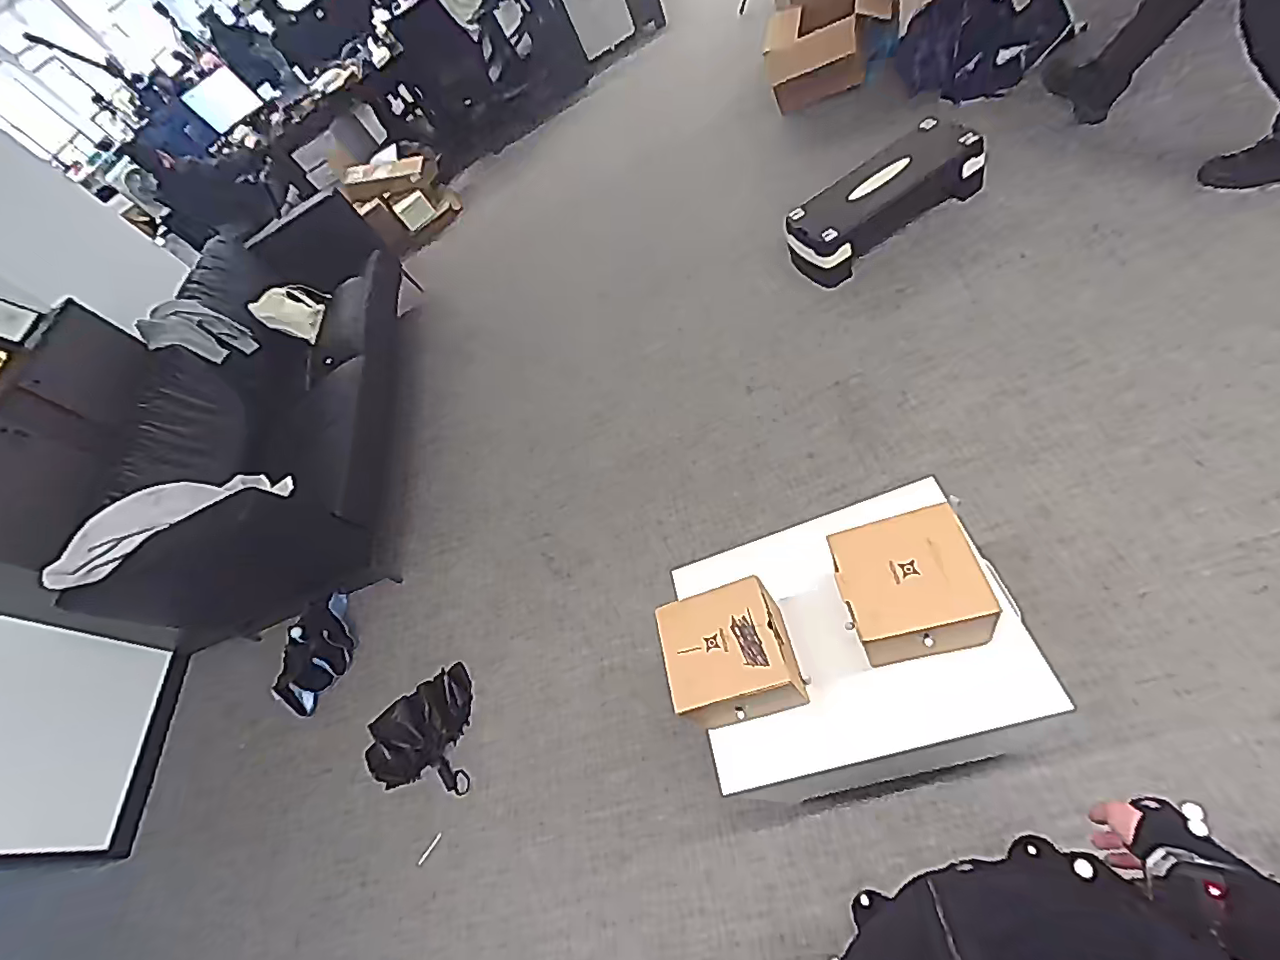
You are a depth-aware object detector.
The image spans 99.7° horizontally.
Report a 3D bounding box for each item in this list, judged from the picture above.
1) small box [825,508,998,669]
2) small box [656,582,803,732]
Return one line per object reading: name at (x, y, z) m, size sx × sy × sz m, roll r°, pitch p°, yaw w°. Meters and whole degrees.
small box at (0.398, 0.170, 0.806) m, size 0.179 × 0.176 × 0.168 m, roll -19°, pitch 55°, yaw 16°
small box at (0.147, 0.288, 0.862) m, size 0.179 × 0.176 × 0.168 m, roll -22°, pitch 52°, yaw 15°
